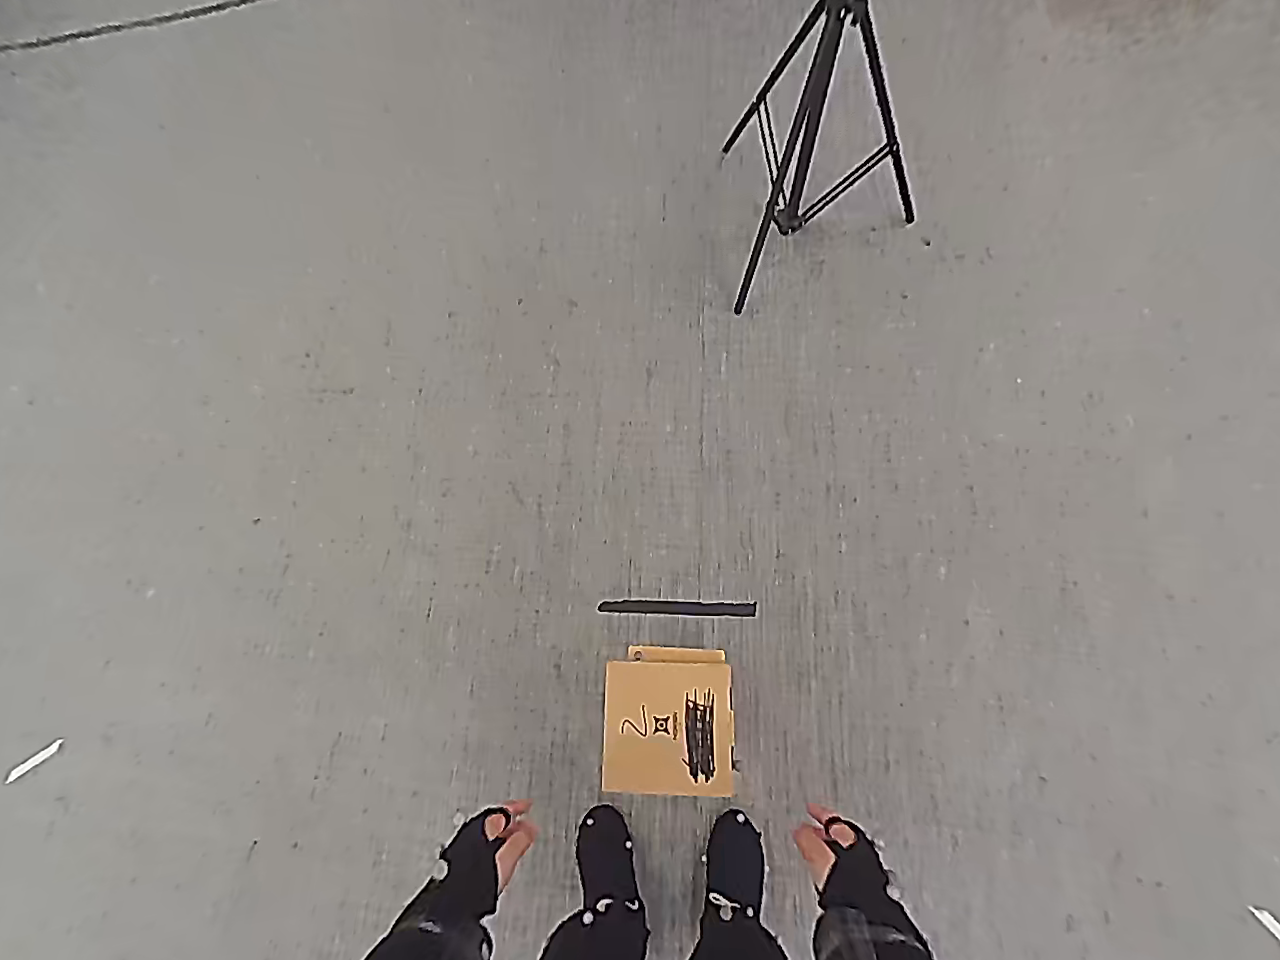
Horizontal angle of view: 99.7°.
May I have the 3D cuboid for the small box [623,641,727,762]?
[{"bbox_3d":[0.064,0.384,0.958,0.168,0.176,0.179,1,72,6],"label":"small box"}]
